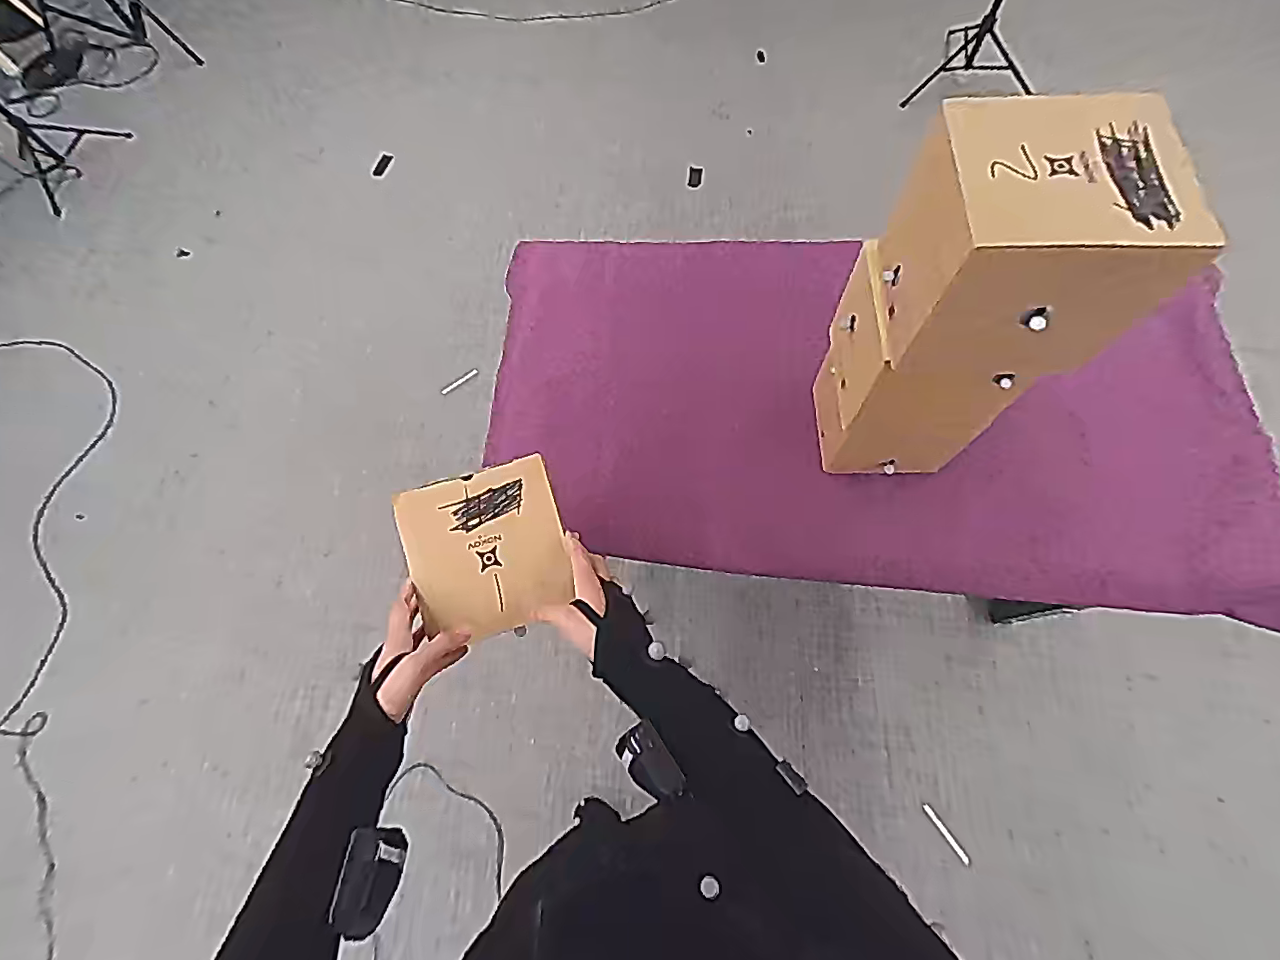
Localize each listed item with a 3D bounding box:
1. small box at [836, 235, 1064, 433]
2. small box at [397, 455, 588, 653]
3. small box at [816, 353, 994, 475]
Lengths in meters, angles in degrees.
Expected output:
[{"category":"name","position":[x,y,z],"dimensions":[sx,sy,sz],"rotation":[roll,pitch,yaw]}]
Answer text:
[{"category":"small box","position":[0.344,-0.164,0.647],"dimensions":[0.179,0.176,0.168],"rotation":[0,68,4]},{"category":"small box","position":[-0.166,0.089,0.652],"dimensions":[0.168,0.176,0.179],"rotation":[-17,83,-8]},{"category":"small box","position":[0.375,-0.114,0.800],"dimensions":[0.179,0.176,0.168],"rotation":[0,68,4]}]
